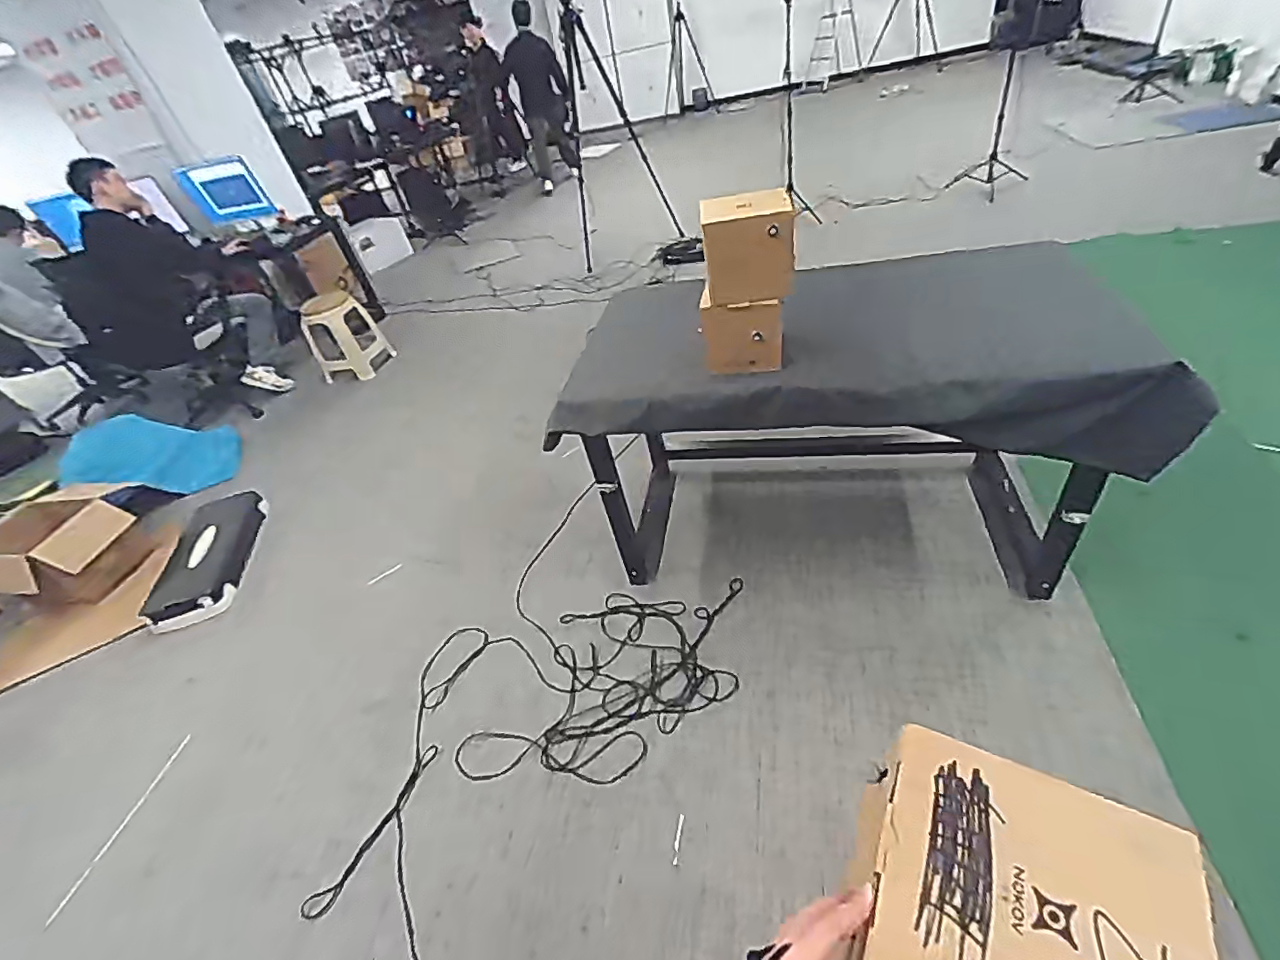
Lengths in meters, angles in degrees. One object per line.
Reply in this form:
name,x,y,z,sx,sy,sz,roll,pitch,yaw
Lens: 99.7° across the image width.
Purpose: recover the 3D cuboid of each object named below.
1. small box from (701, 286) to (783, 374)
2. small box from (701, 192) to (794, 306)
small box,0.237,-0.351,1.229,0.168,0.176,0.179,0,41,15
small box,0.223,-0.476,1.124,0.179,0.176,0.168,-5,40,10
